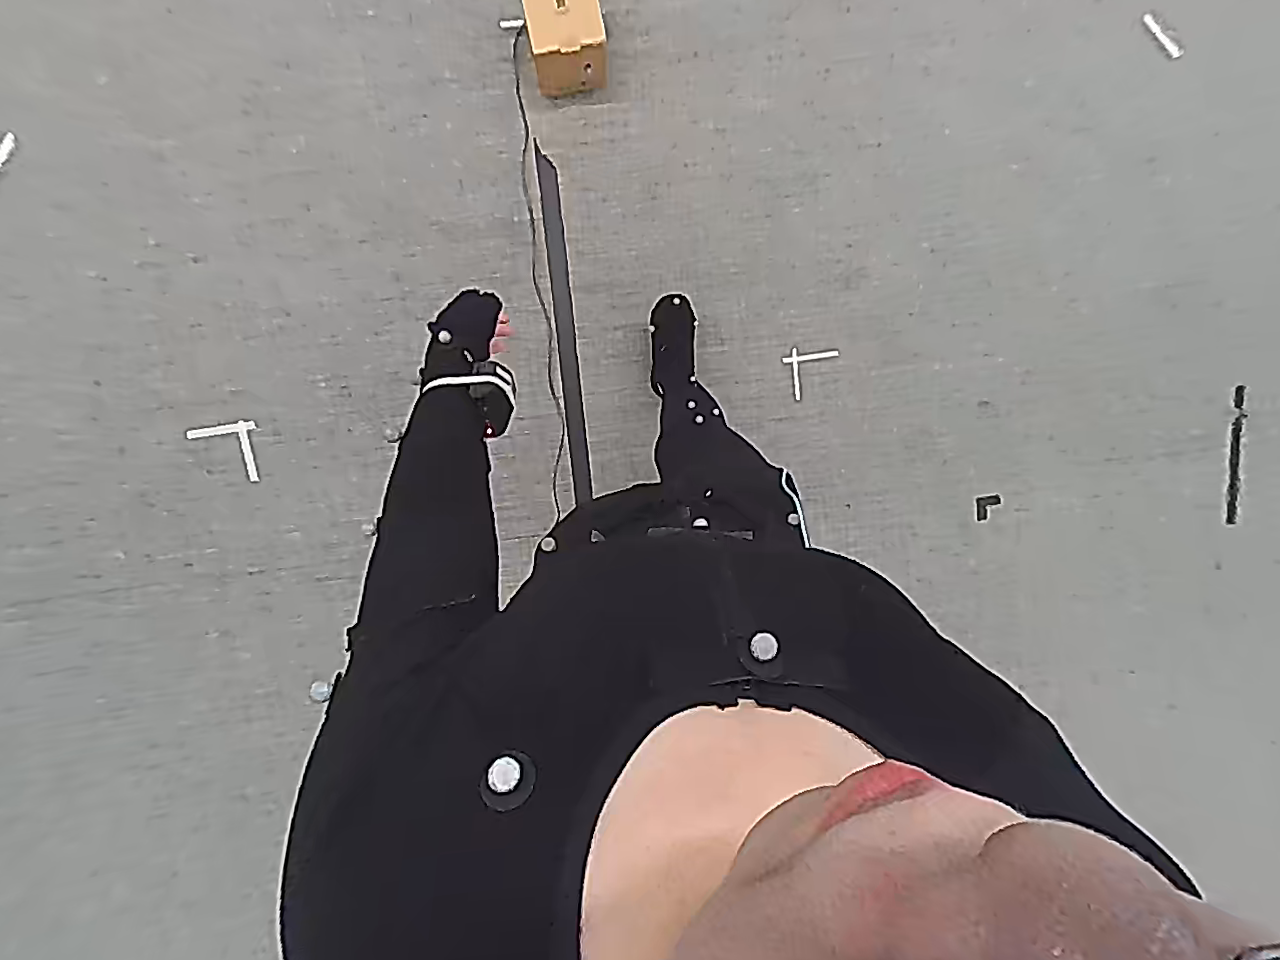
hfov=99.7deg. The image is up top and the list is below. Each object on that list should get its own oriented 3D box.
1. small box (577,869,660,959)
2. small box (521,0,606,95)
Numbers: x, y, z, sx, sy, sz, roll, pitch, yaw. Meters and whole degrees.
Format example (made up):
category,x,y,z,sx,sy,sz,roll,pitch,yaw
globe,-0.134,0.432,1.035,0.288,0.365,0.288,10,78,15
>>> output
category,x,y,z,sx,sy,sz,roll,pitch,yaw
small box,-0.042,0.985,1.159,0.168,0.176,0.179,-5,97,-2
small box,-0.173,-1.027,1.248,0.168,0.176,0.179,-11,97,-2
